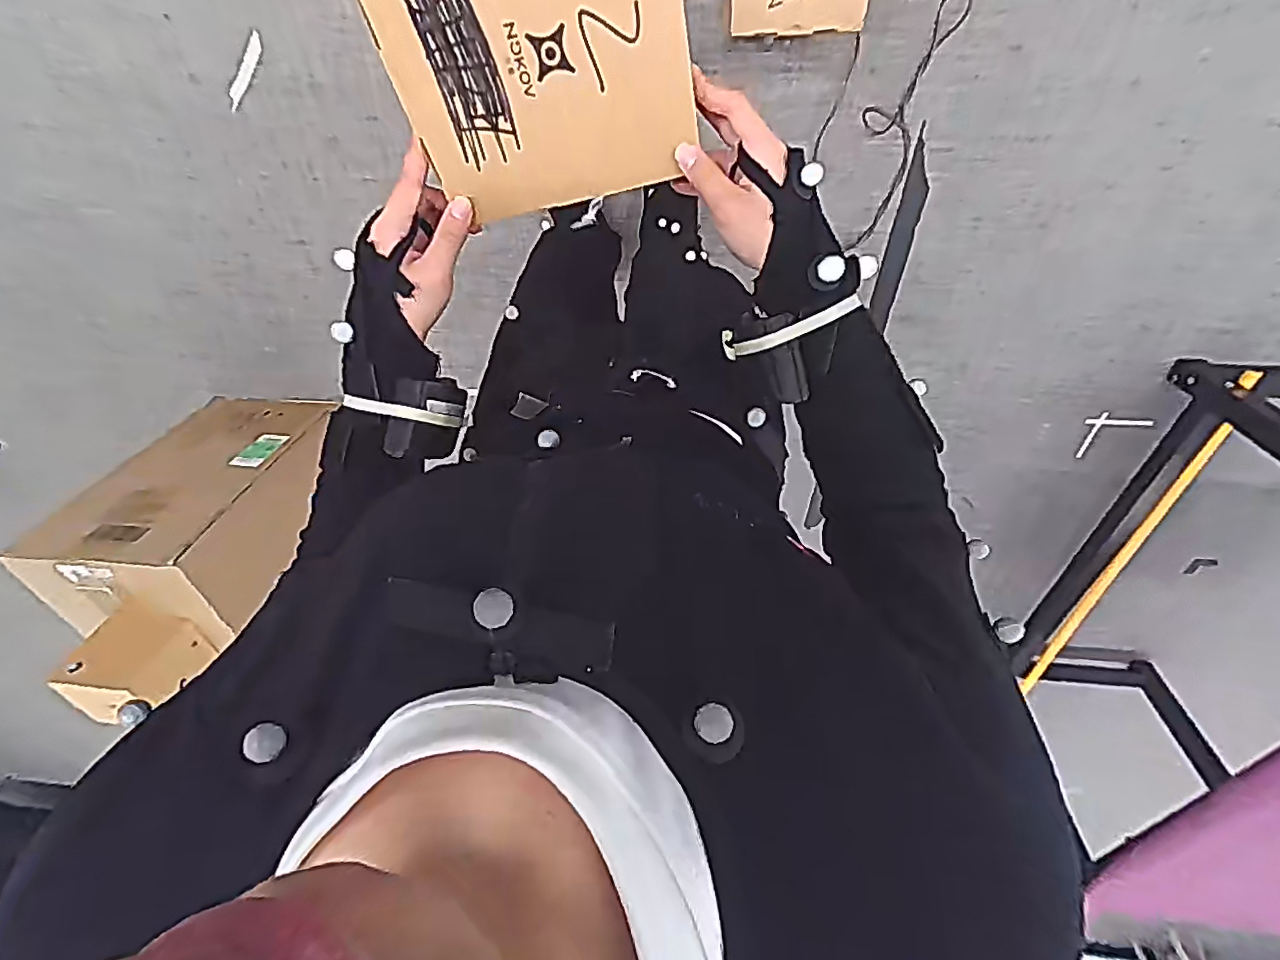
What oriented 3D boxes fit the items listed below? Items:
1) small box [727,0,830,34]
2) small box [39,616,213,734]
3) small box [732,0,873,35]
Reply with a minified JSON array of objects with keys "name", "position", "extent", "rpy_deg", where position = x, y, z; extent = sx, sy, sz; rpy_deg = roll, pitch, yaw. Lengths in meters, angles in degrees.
[{"name":"small box","position":[0.221,-0.781,0.807],"extent":[0.168,0.176,0.179],"rpy_deg":[4,130,4]},{"name":"small box","position":[-1.044,0.402,1.126],"extent":[0.179,0.176,0.168],"rpy_deg":[4,130,4]},{"name":"small box","position":[0.206,-0.676,0.680],"extent":[0.168,0.176,0.179],"rpy_deg":[3,130,6]}]
